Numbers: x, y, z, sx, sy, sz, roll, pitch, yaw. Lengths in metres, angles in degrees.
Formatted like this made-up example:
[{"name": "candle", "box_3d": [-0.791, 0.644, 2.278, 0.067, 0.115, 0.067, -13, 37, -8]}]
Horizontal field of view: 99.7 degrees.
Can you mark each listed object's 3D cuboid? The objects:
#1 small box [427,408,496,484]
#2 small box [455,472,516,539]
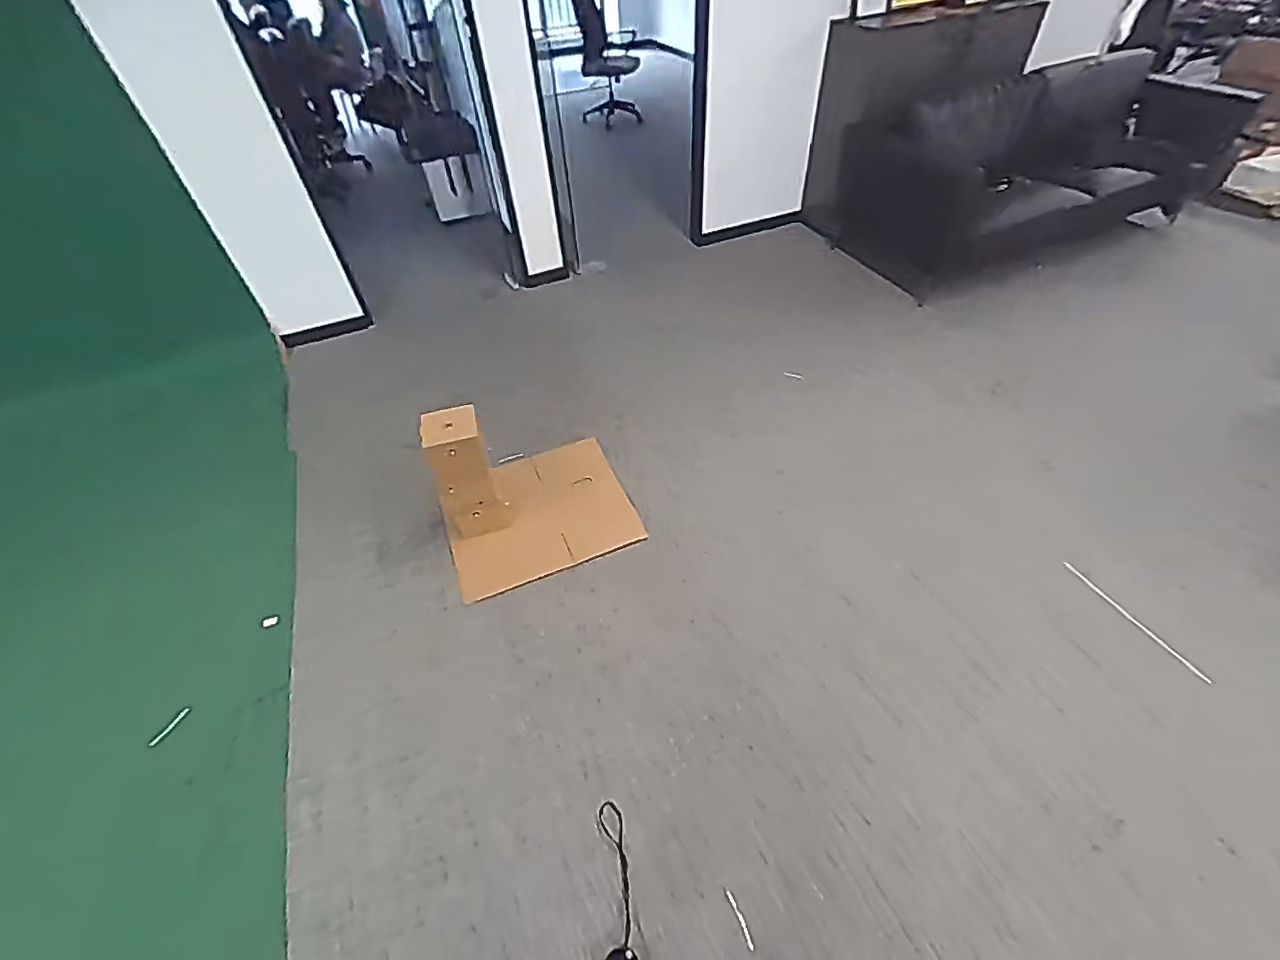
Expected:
[{"name": "small box", "box_3d": [-0.596, -0.109, 1.809, 0.179, 0.176, 0.168, -14, 49, -9]}, {"name": "small box", "box_3d": [-0.588, 0.102, 2.059, 0.179, 0.176, 0.168, -15, 48, -10]}]
